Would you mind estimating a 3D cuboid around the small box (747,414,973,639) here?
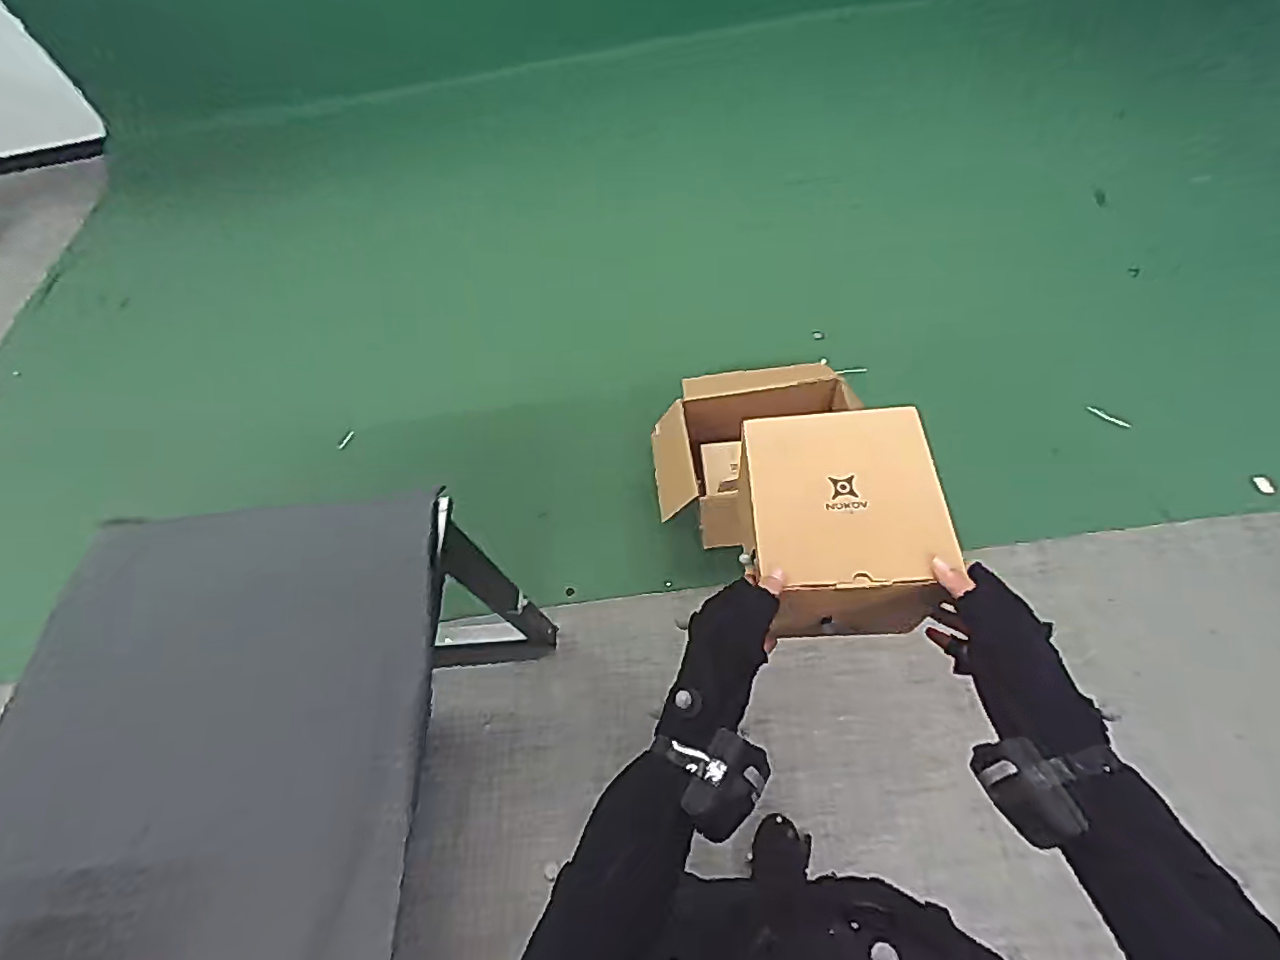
[{"bbox_3d":[0.202,0.055,0.559,0.168,0.176,0.179,-4,60,7],"label":"small box"}]
